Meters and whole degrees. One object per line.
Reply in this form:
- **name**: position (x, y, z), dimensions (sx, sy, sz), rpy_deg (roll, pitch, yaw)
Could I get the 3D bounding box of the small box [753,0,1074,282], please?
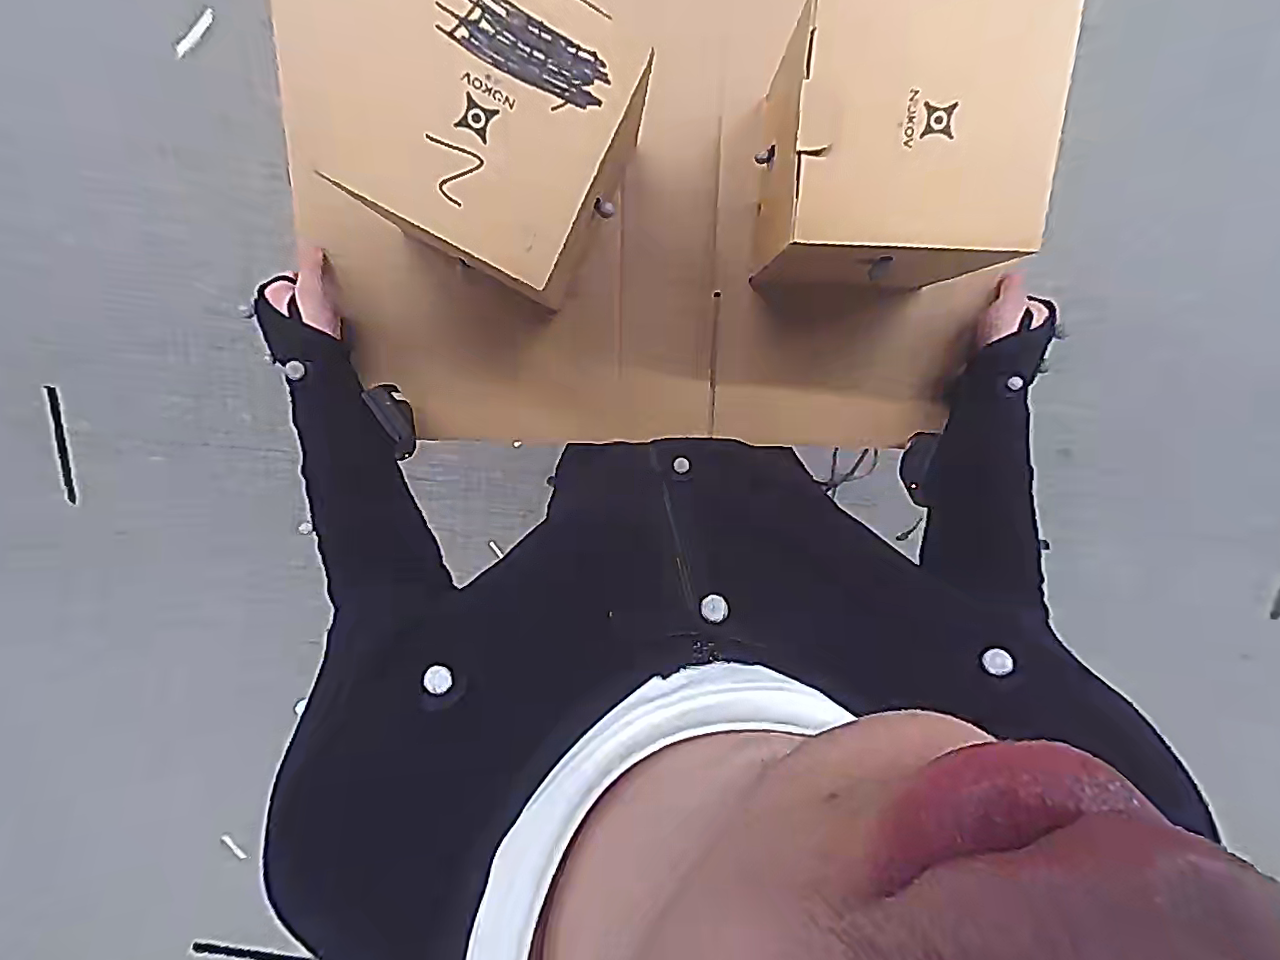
- **small box**: position (0.204, -0.267, 0.458), dimensions (0.179, 0.176, 0.168), rpy_deg (2, 102, 1)
